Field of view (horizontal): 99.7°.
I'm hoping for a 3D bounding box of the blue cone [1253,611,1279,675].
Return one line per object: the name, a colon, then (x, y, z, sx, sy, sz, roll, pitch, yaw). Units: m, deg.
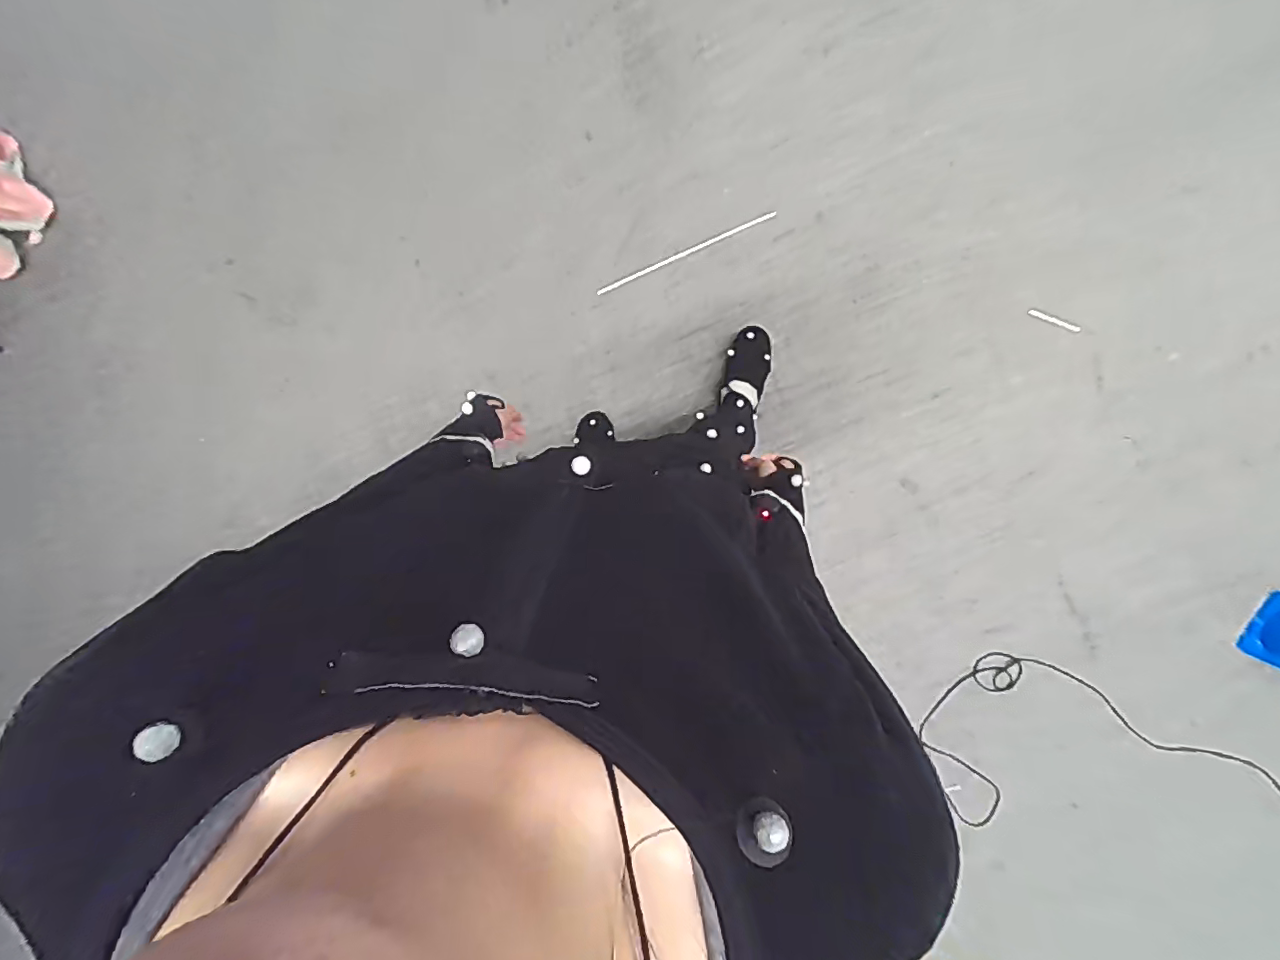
blue cone: (1.818, 0.479, 1.340, 0.192, 0.380, 0.193, 23, 98, -1)
